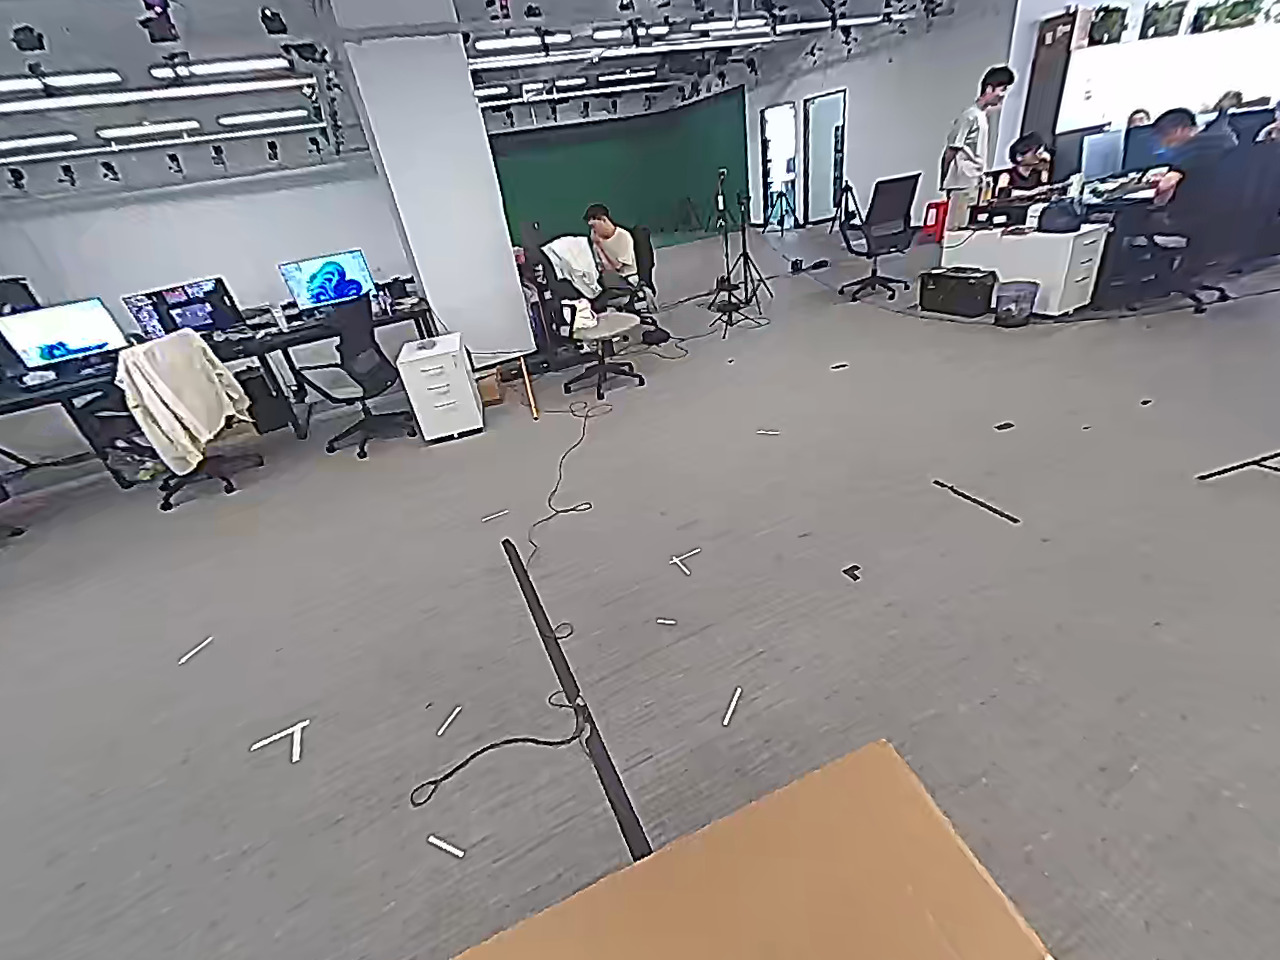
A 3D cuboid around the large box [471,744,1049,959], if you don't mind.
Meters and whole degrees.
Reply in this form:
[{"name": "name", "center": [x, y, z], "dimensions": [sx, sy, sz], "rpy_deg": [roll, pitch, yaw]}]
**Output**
[{"name": "large box", "center": [0.098, 0.481, 0.385], "dimensions": [0.408, 0.320, 0.320], "rpy_deg": [-22, 41, -8]}]
